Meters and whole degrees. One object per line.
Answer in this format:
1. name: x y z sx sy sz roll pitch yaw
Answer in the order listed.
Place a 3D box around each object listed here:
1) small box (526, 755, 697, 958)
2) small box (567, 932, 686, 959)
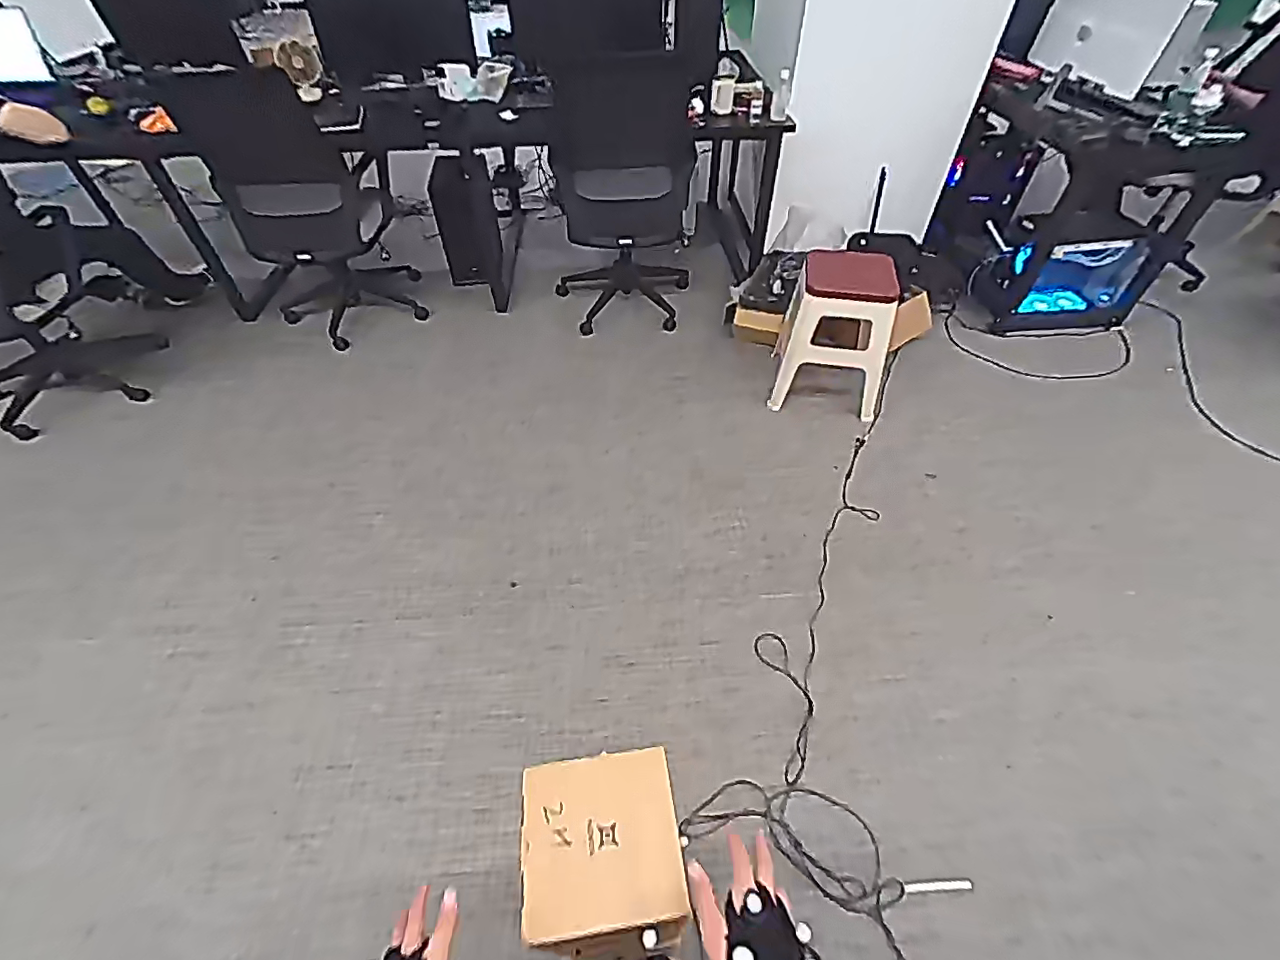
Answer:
1. small box: -0.037 0.455 0.653 0.179 0.176 0.168 -7 47 -4
2. small box: -0.027 0.684 0.891 0.179 0.176 0.168 -7 48 -4
